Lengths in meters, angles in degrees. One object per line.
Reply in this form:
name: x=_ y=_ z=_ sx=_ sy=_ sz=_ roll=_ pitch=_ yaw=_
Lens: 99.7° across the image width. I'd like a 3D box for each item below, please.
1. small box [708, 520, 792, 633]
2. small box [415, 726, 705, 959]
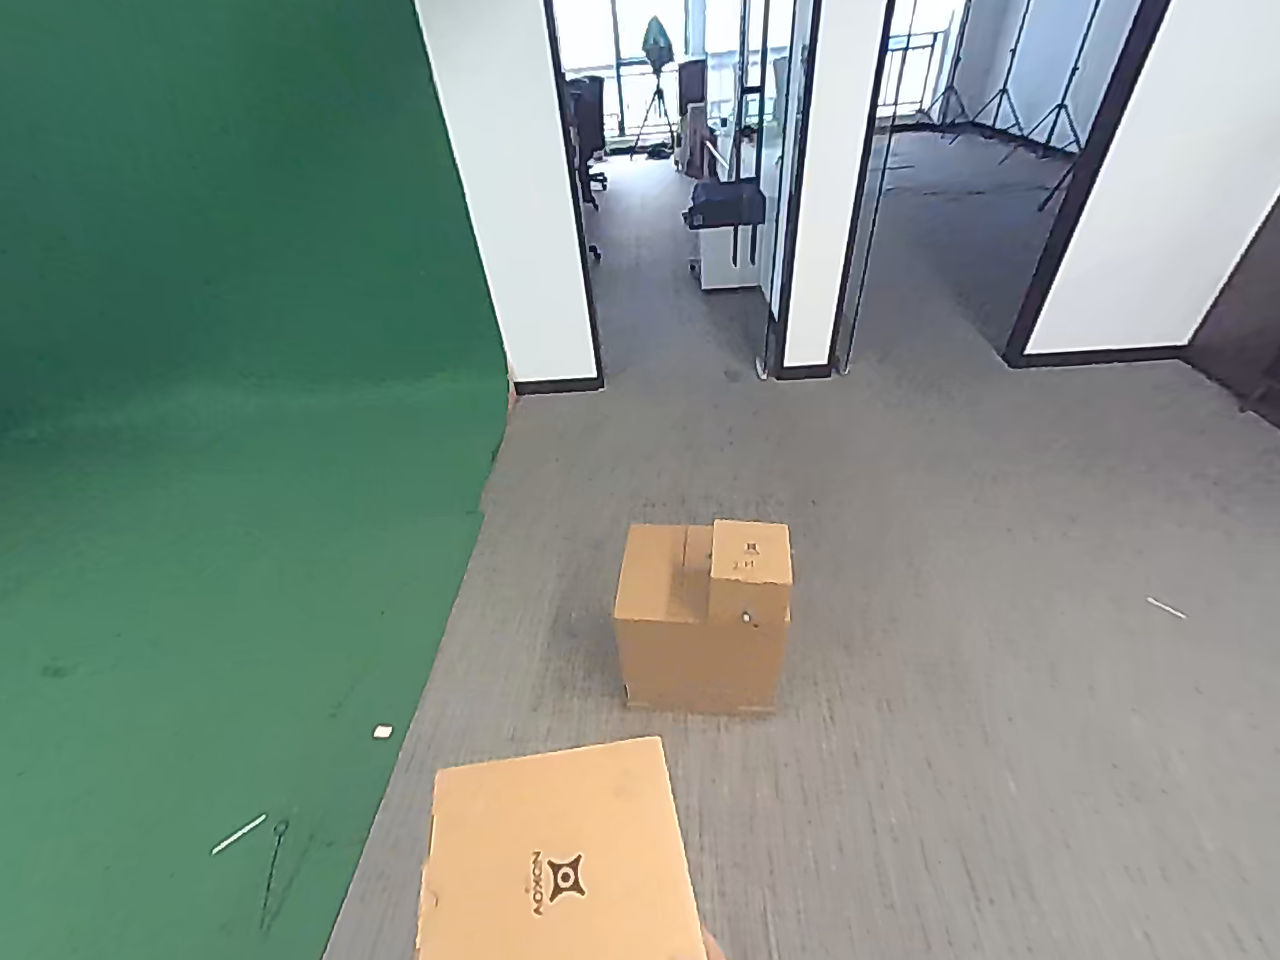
small box: x=0.241 y=0.212 z=1.205 sx=0.168 sy=0.176 sz=0.179 roll=3 pitch=40 yaw=9
small box: x=-0.061 y=0.319 z=0.417 sx=0.179 sy=0.176 sz=0.168 roll=-5 pitch=40 yaw=-9
